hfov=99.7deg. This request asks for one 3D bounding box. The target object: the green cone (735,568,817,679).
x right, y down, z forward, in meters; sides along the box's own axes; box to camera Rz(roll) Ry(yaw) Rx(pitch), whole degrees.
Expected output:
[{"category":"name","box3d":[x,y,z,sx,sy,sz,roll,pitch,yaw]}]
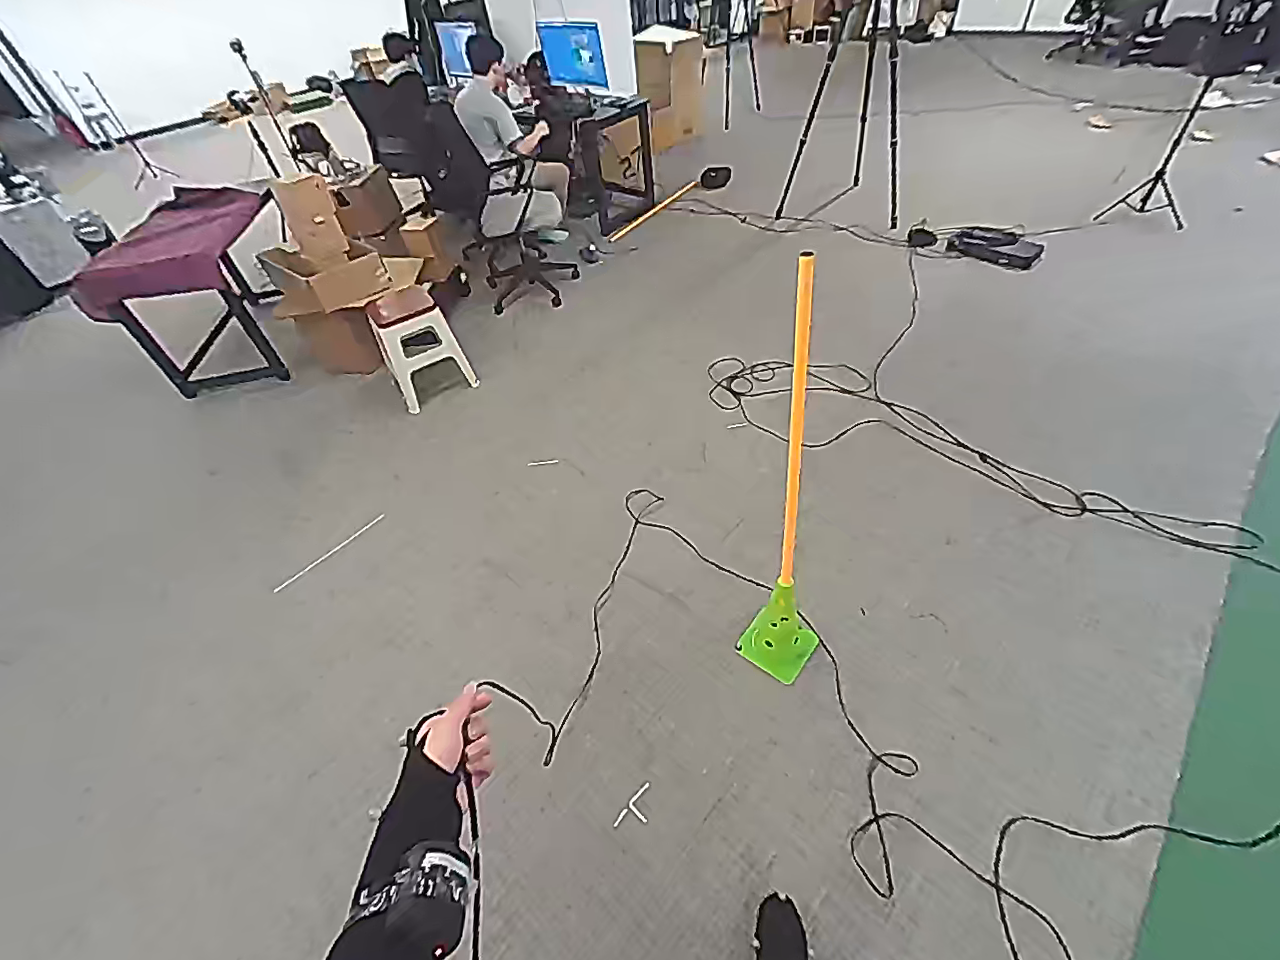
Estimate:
[{"category":"green cone","box3d":[0.409,0.379,1.568,0.200,0.368,0.202,28,55,29]}]
